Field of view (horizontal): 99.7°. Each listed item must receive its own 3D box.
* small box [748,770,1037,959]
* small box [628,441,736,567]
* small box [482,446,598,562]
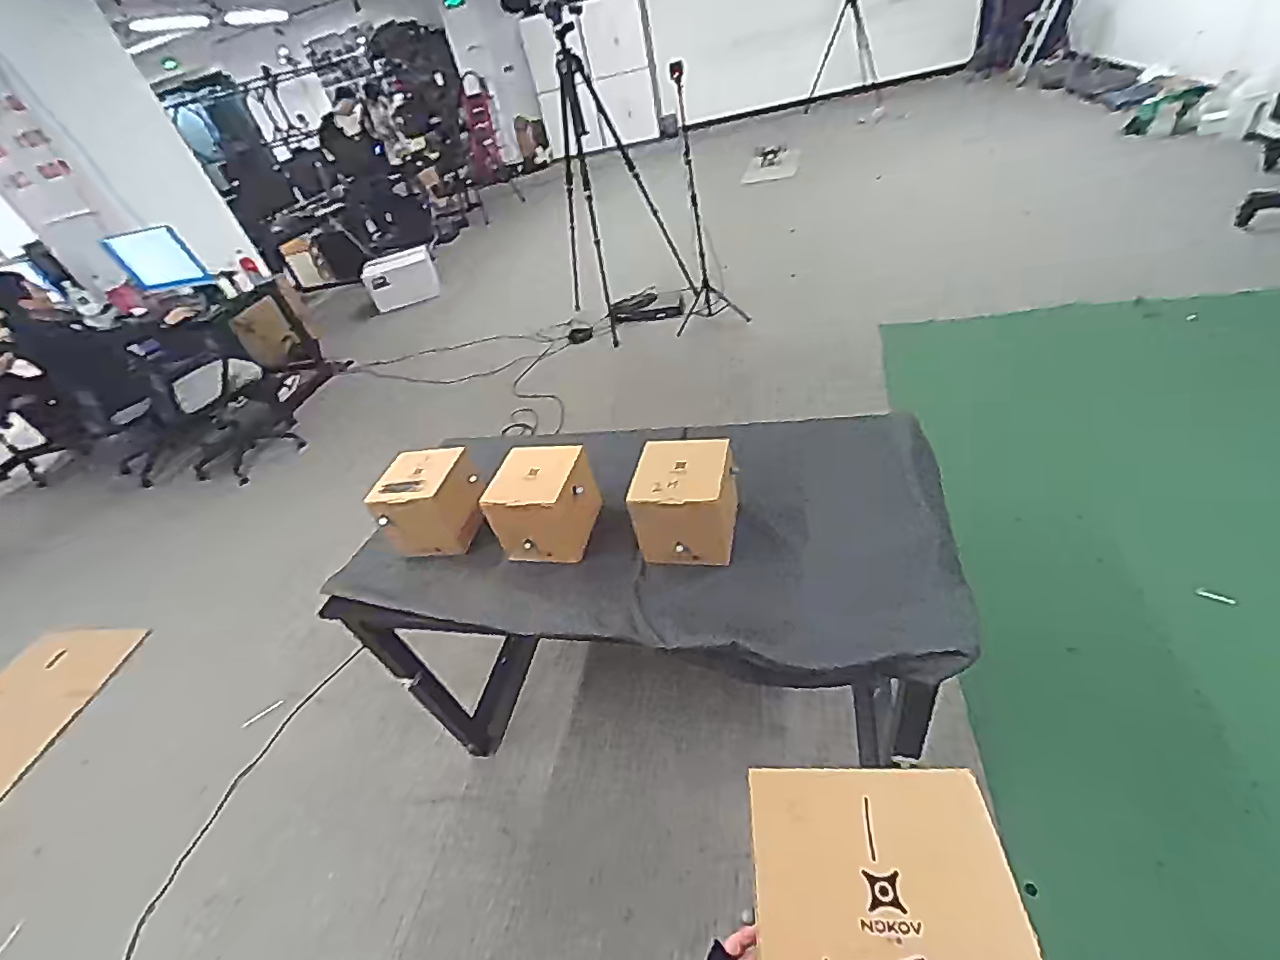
[{"bbox_3d":[0.173,0.340,0.396,0.168,0.176,0.179,-5,37,11],"label":"small box"},{"bbox_3d":[0.090,0.043,1.037,0.168,0.176,0.179,0,42,18],"label":"small box"},{"bbox_3d":[-0.195,0.048,1.124,0.168,0.176,0.179,0,42,17],"label":"small box"}]
